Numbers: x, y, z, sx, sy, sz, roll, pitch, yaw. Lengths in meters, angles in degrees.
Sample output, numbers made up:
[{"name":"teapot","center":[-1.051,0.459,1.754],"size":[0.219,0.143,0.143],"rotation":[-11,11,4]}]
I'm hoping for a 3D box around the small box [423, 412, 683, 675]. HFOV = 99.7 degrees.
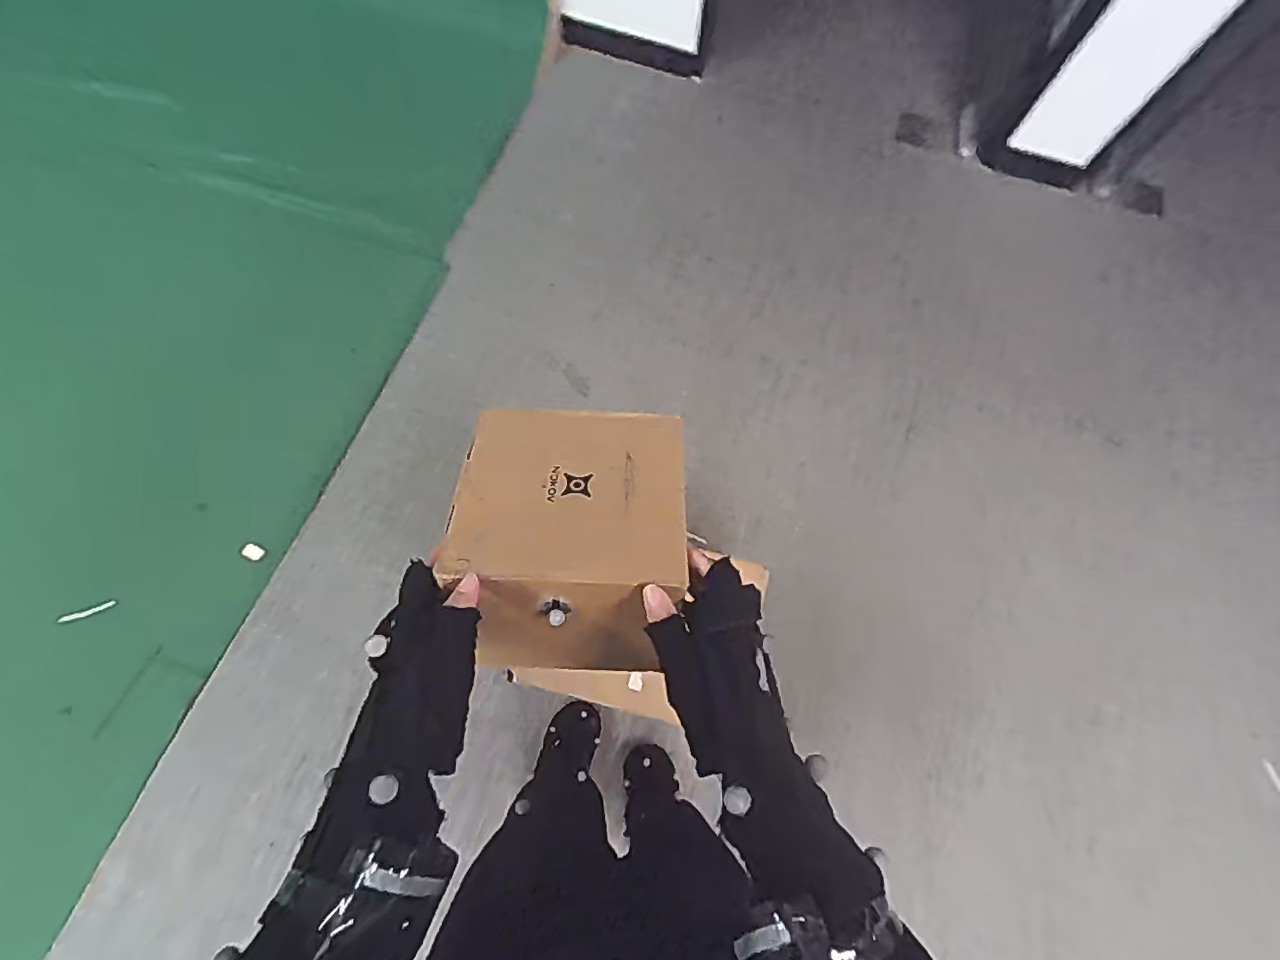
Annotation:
[{"name":"small box","center":[-0.060,0.060,0.468],"size":[0.179,0.176,0.168],"rotation":[2,51,-2]}]
